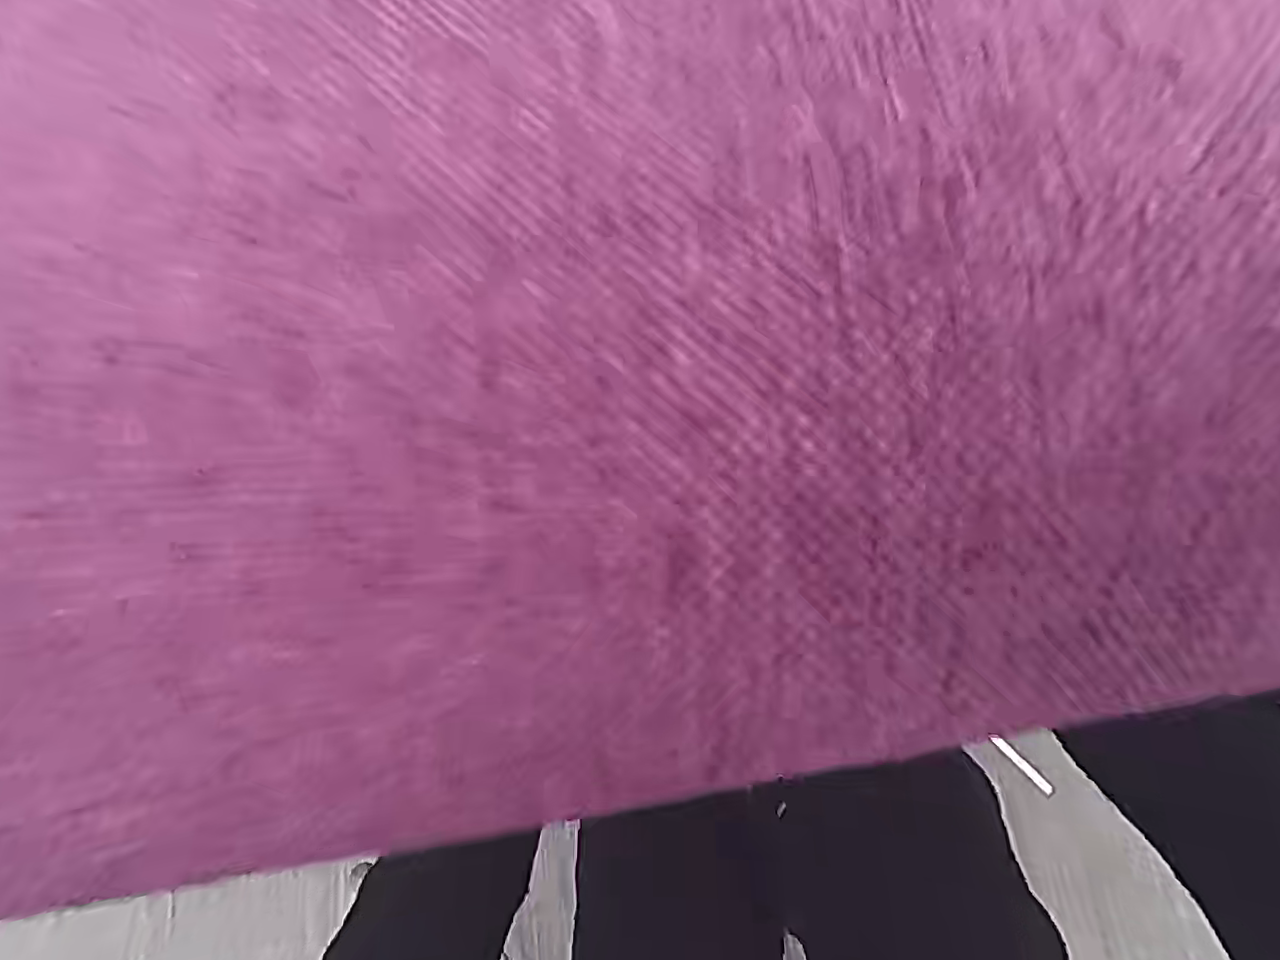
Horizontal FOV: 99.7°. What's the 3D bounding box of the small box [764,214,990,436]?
[{"bbox_3d":[0.249,-0.164,0.618,0.168,0.176,0.179,-9,79,1],"label":"small box"}]
